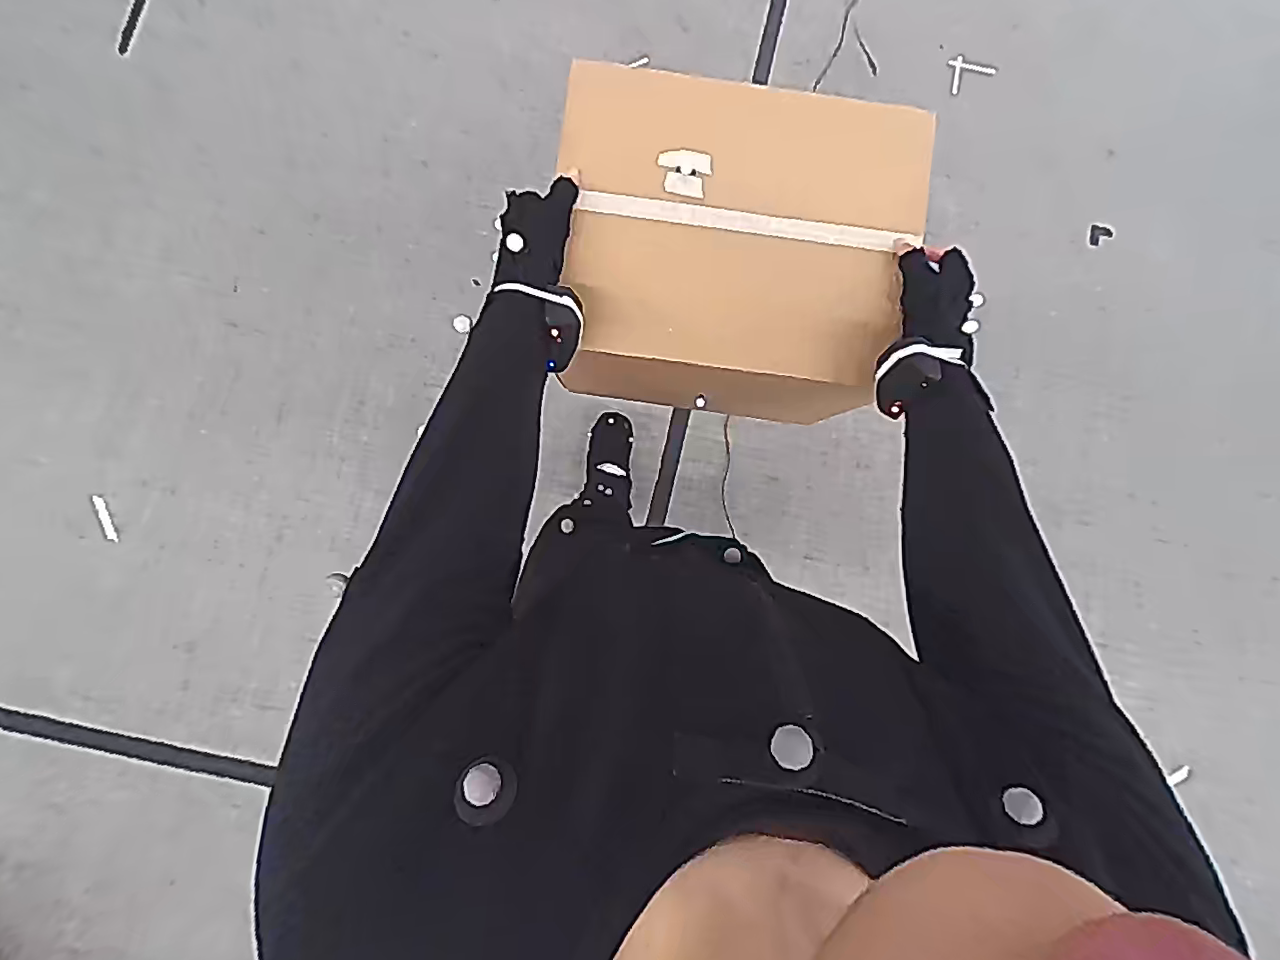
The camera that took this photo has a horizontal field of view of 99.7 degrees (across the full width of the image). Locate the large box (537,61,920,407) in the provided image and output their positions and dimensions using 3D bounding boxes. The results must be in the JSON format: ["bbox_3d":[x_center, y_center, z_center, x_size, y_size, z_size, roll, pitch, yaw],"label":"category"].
[{"bbox_3d":[0.099,-0.289,0.745,0.408,0.320,0.320,7,89,-1],"label":"large box"}]
